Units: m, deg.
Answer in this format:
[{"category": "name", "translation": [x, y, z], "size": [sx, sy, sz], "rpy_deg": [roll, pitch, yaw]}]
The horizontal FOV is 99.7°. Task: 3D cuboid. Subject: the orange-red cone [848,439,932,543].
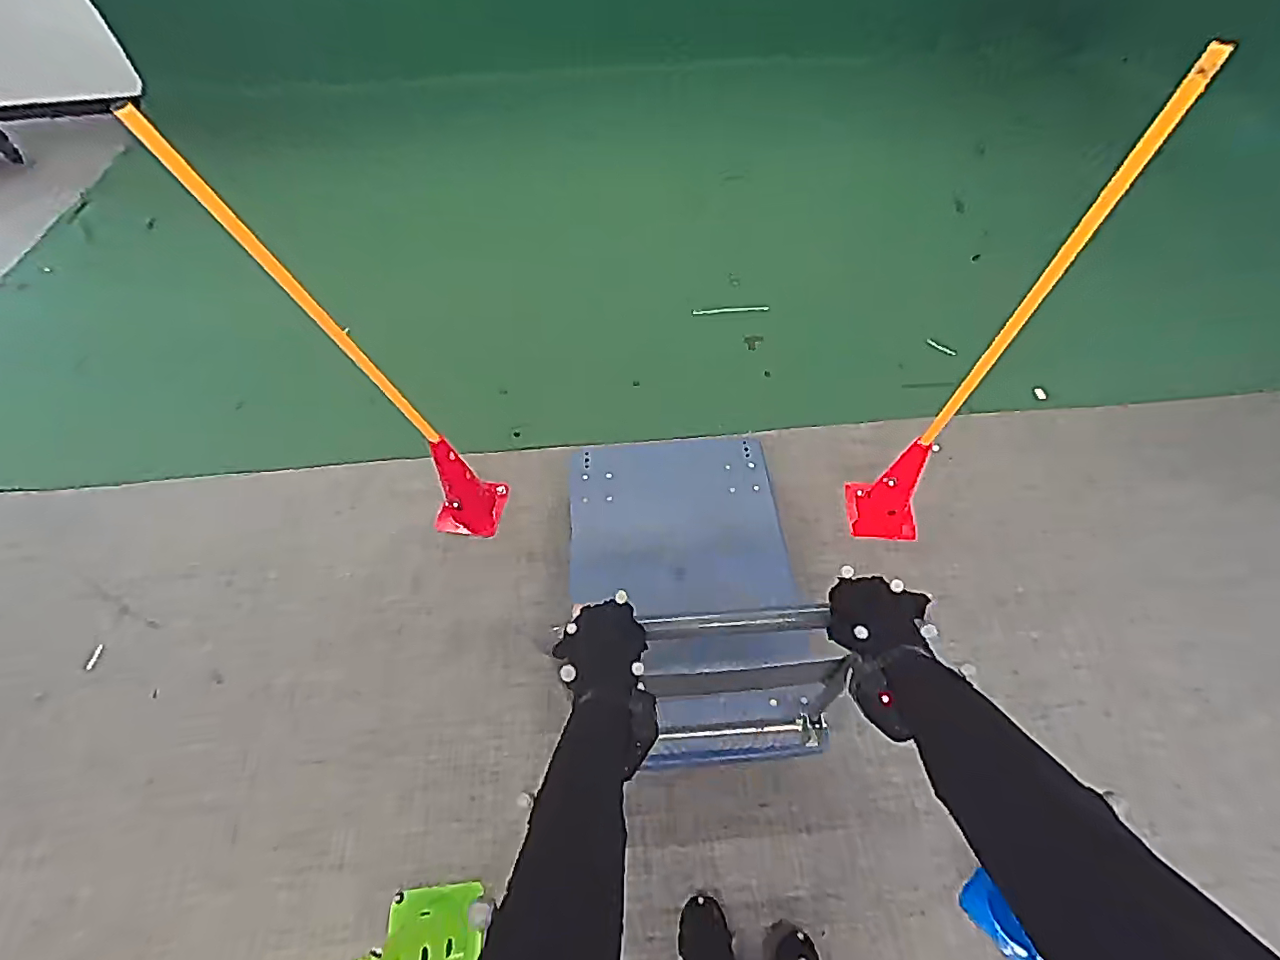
[{"category": "orange-red cone", "translation": [0.745, 0.009, 1.541], "size": [0.198, 0.360, 0.199], "rpy_deg": [4, 57, 6]}]
